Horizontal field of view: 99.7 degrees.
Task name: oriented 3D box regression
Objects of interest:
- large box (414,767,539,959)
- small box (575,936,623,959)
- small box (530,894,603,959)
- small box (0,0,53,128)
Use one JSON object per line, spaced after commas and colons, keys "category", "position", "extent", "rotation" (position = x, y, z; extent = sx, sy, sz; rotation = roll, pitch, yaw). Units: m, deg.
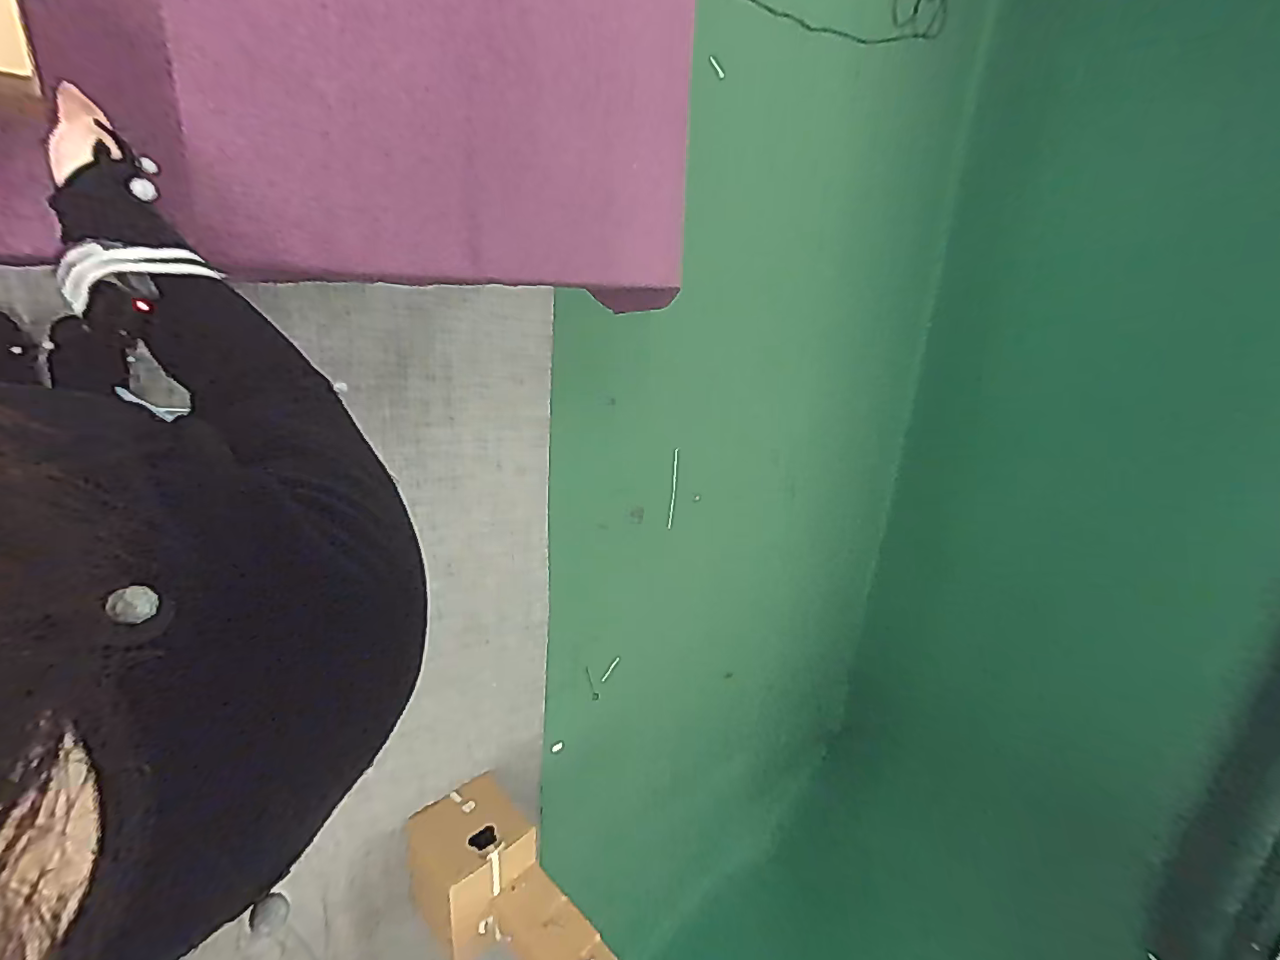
{"category": "large box", "position": [-0.574, 1.335, 1.912], "extent": [0.320, 0.320, 0.408], "rotation": [-14, 116, -42]}
{"category": "small box", "position": [-0.121, 1.526, 1.604], "extent": [0.168, 0.176, 0.179], "rotation": [-14, 113, -46]}
{"category": "small box", "position": [-0.235, 1.478, 1.711], "extent": [0.168, 0.176, 0.179], "rotation": [-16, 115, -44]}
{"category": "small box", "position": [-0.534, -0.366, 0.361], "extent": [0.168, 0.176, 0.179], "rotation": [-14, 115, -41]}
